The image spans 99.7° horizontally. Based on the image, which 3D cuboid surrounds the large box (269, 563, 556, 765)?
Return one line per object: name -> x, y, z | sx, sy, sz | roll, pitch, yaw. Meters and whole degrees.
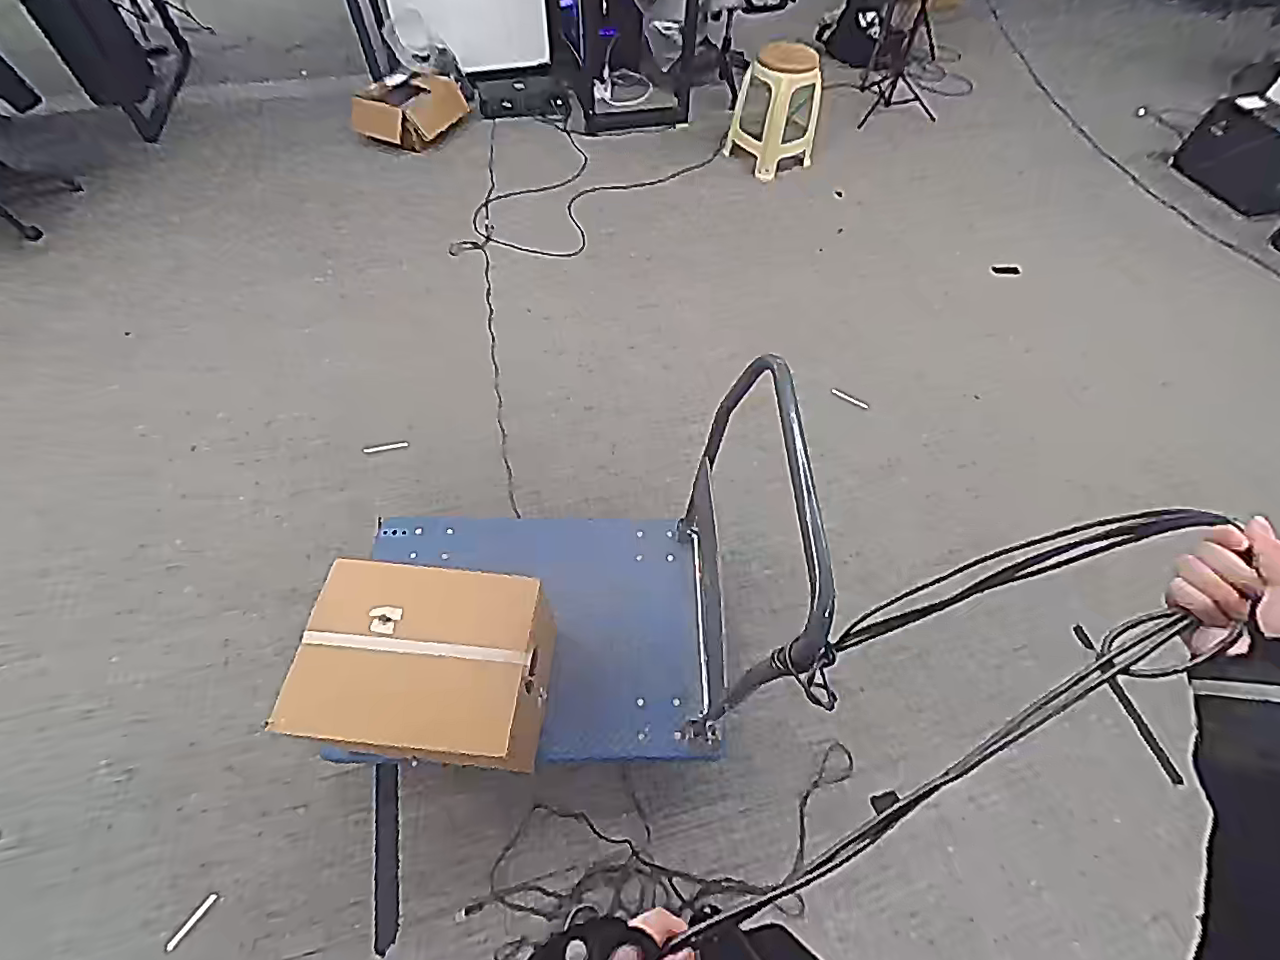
large box -> -0.401, 0.379, 1.083 | 0.408, 0.320, 0.320 | 5, 57, 2
